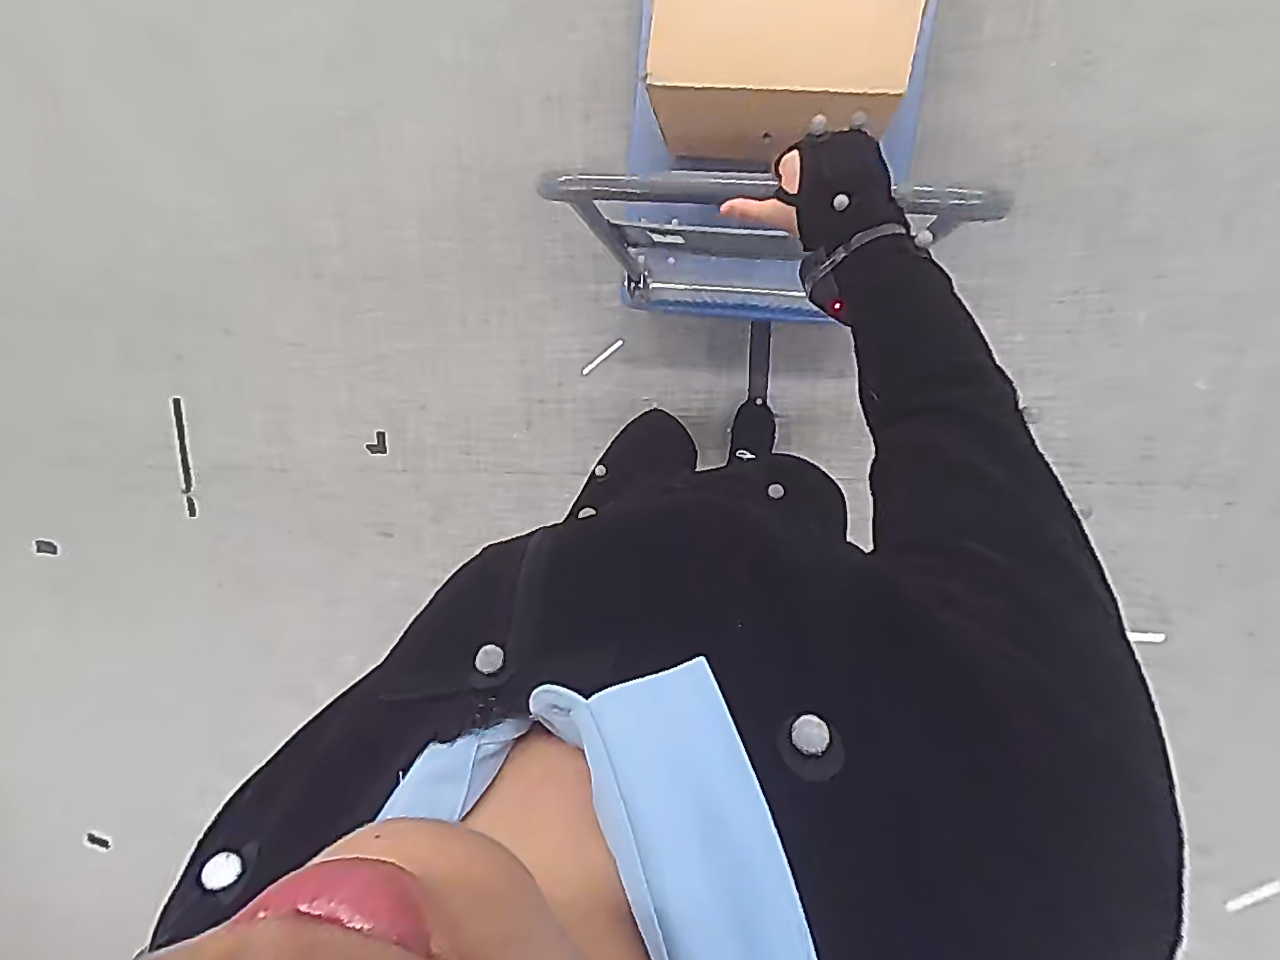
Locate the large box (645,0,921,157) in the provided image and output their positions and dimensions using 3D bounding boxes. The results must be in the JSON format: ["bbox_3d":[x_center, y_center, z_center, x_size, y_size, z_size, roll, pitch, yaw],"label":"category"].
[{"bbox_3d":[0.247,-0.789,0.942,0.408,0.320,0.320,9,102,10],"label":"large box"}]
